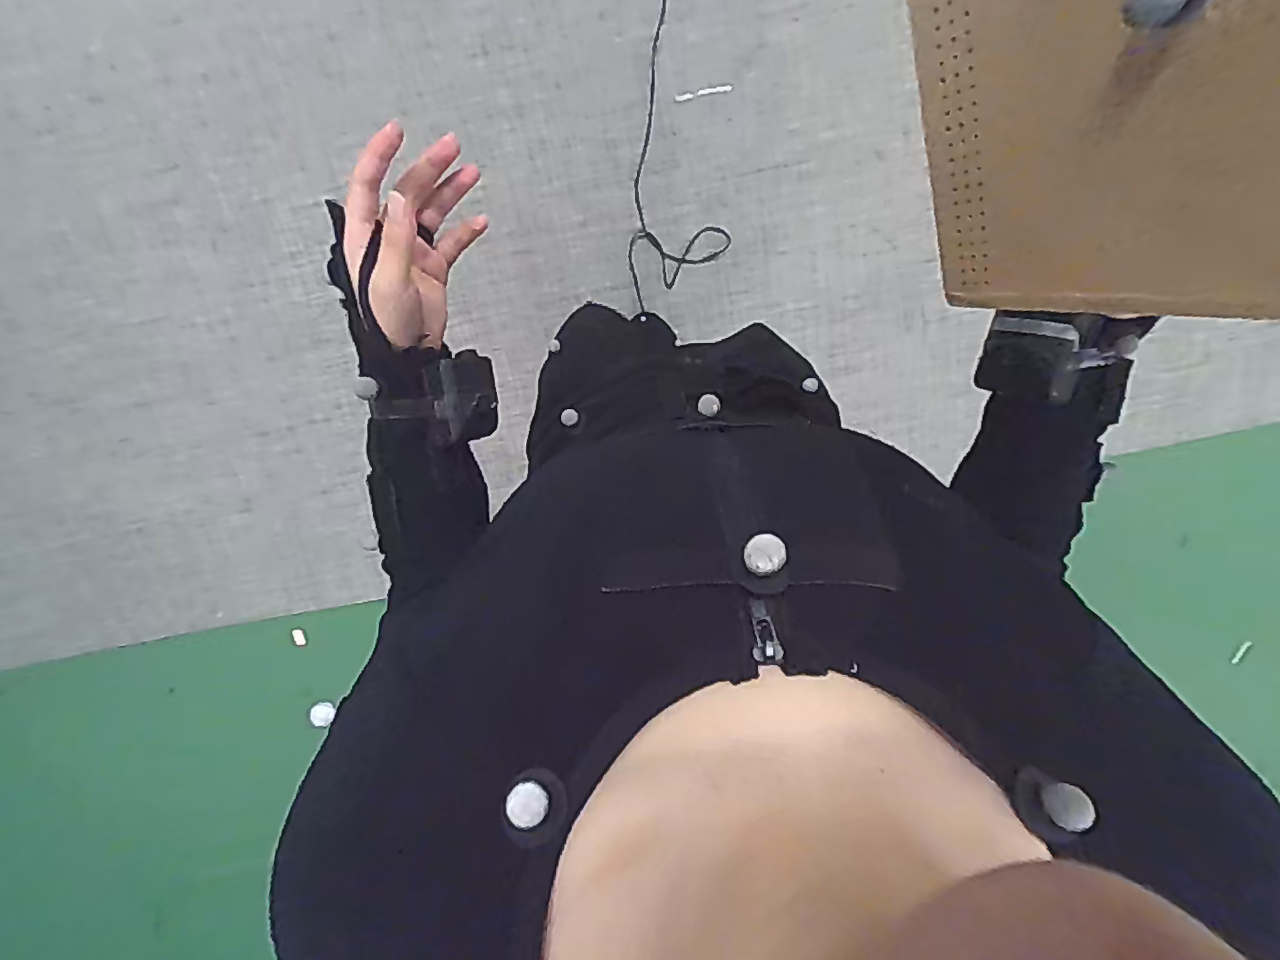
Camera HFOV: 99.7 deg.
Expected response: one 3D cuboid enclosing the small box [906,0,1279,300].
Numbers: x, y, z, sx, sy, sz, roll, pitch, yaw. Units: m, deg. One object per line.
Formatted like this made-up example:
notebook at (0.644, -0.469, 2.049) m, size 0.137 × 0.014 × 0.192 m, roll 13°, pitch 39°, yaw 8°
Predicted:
small box at (0.228, -0.179, 0.200) m, size 0.168 × 0.176 × 0.179 m, roll -29°, pitch 114°, yaw -7°
